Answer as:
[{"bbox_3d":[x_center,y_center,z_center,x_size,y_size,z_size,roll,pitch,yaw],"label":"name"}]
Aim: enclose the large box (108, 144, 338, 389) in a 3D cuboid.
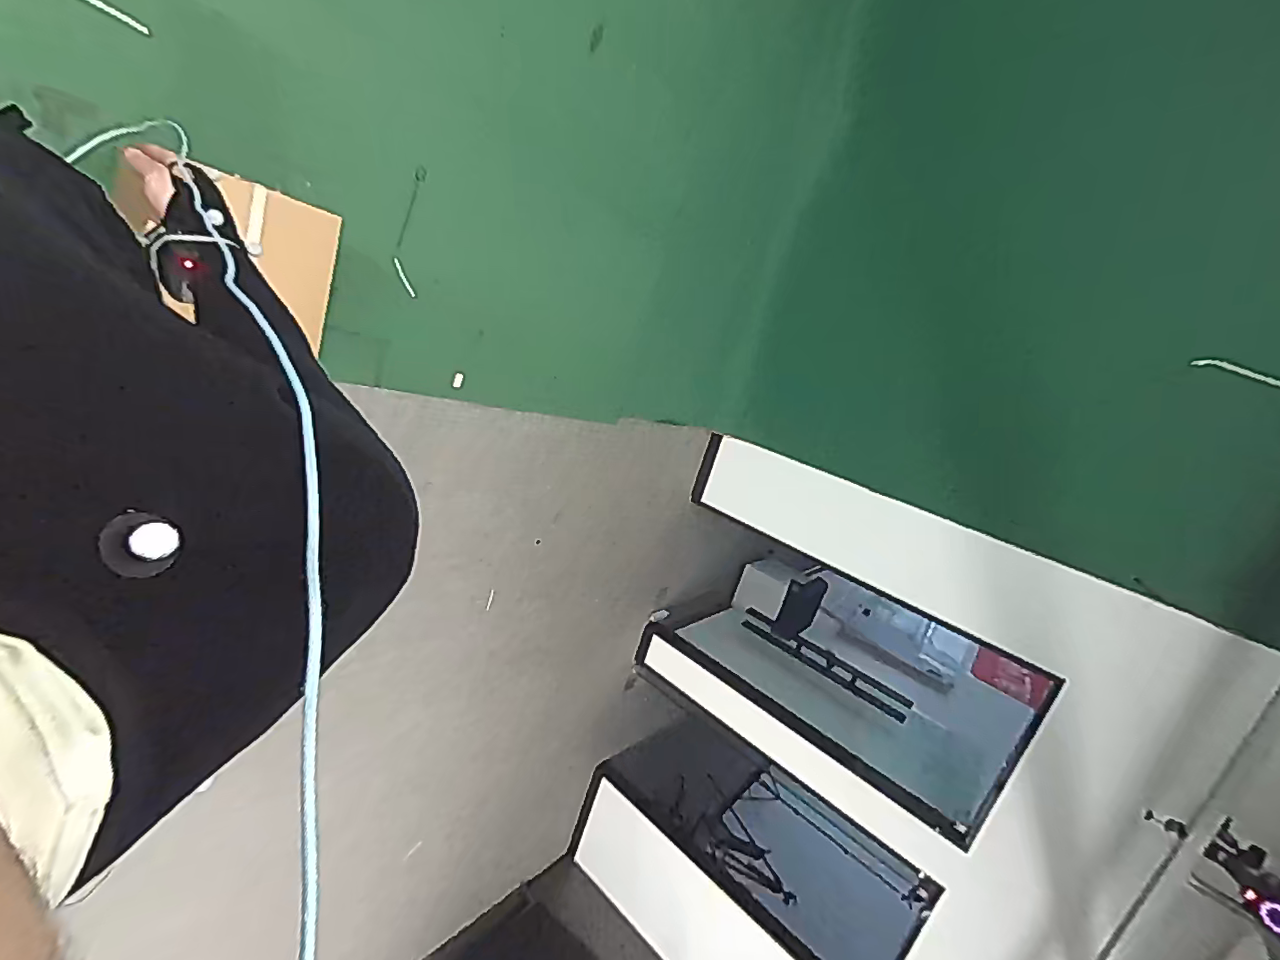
[{"bbox_3d":[-0.919,-0.452,1.188,0.320,0.320,0.408,-1,113,-53],"label":"large box"}]
